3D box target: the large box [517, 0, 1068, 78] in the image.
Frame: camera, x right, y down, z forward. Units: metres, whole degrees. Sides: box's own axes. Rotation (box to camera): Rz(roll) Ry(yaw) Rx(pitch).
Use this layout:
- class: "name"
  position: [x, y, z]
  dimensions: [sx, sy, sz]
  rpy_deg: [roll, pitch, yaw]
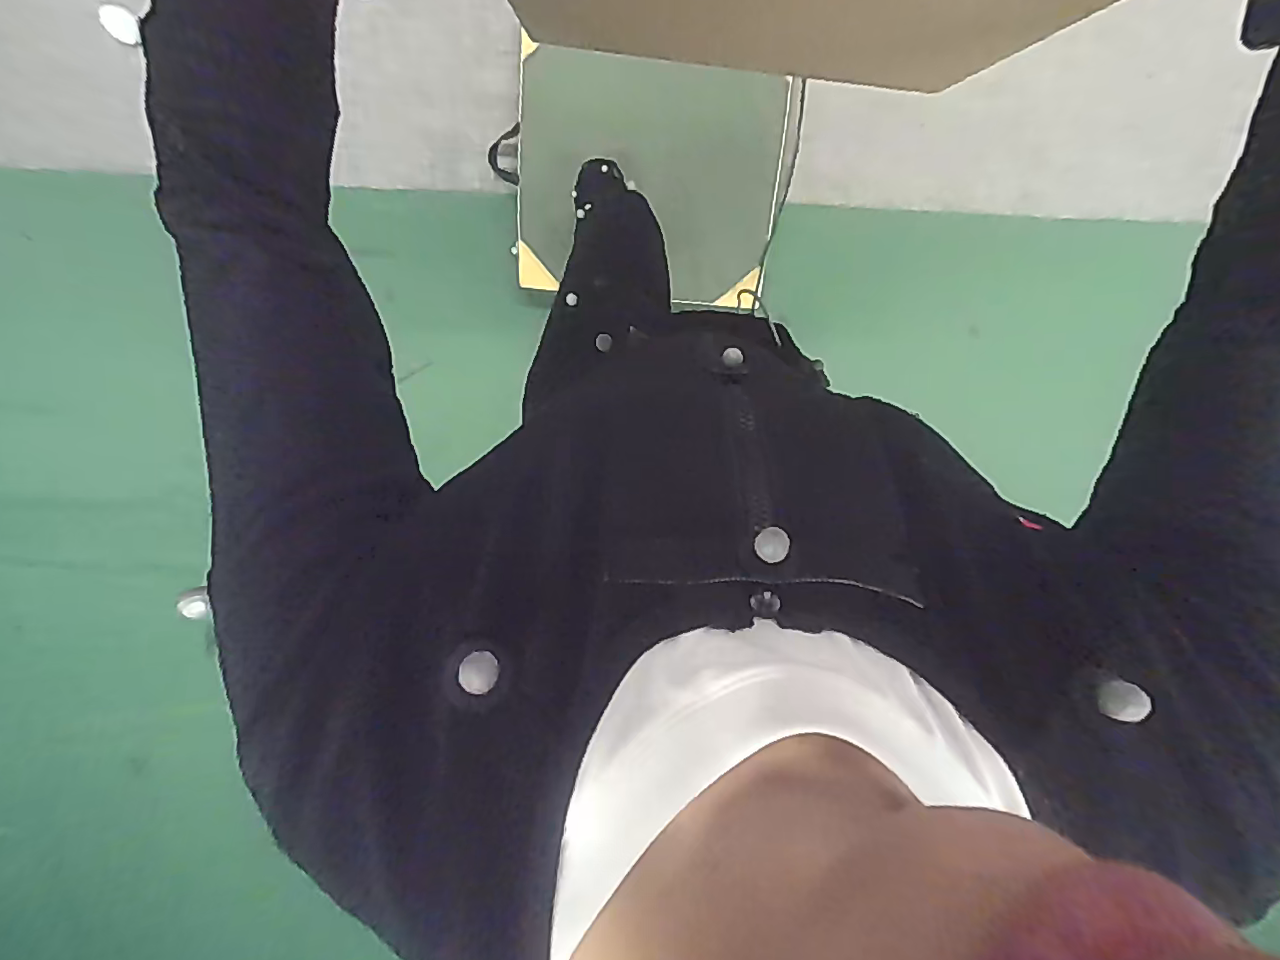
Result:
- class: "large box"
  position: [0.106, -0.485, 0.326]
  dimensions: [0.408, 0.320, 0.320]
  rpy_deg: [5, 114, -3]
